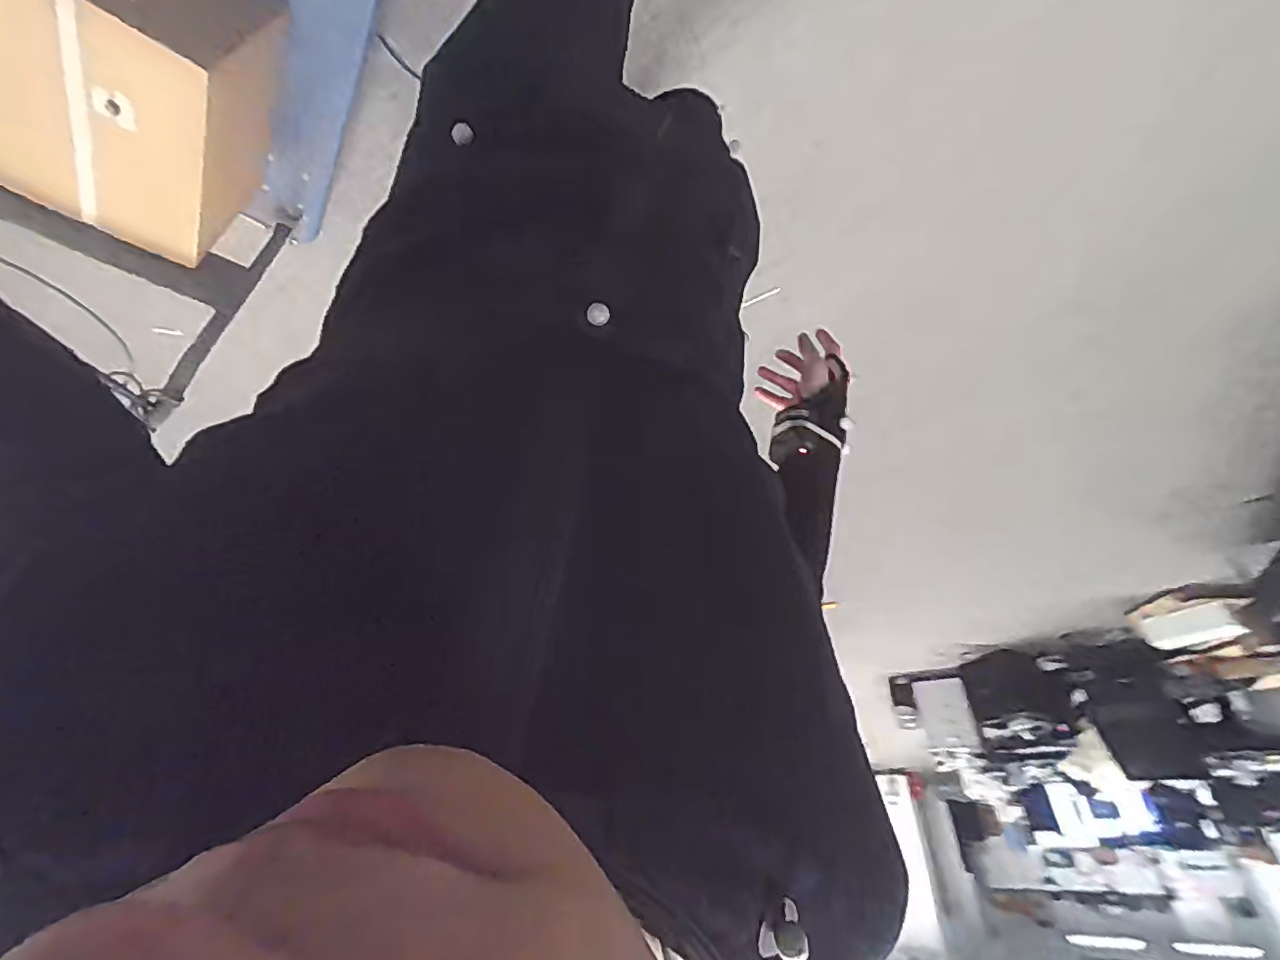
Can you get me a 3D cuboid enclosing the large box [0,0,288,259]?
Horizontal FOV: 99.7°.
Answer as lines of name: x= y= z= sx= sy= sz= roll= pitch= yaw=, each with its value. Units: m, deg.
large box: x=-0.850 y=-0.682 z=0.914 sx=0.320 sy=0.320 sz=0.408 roll=24 pitch=138 yaw=-29
